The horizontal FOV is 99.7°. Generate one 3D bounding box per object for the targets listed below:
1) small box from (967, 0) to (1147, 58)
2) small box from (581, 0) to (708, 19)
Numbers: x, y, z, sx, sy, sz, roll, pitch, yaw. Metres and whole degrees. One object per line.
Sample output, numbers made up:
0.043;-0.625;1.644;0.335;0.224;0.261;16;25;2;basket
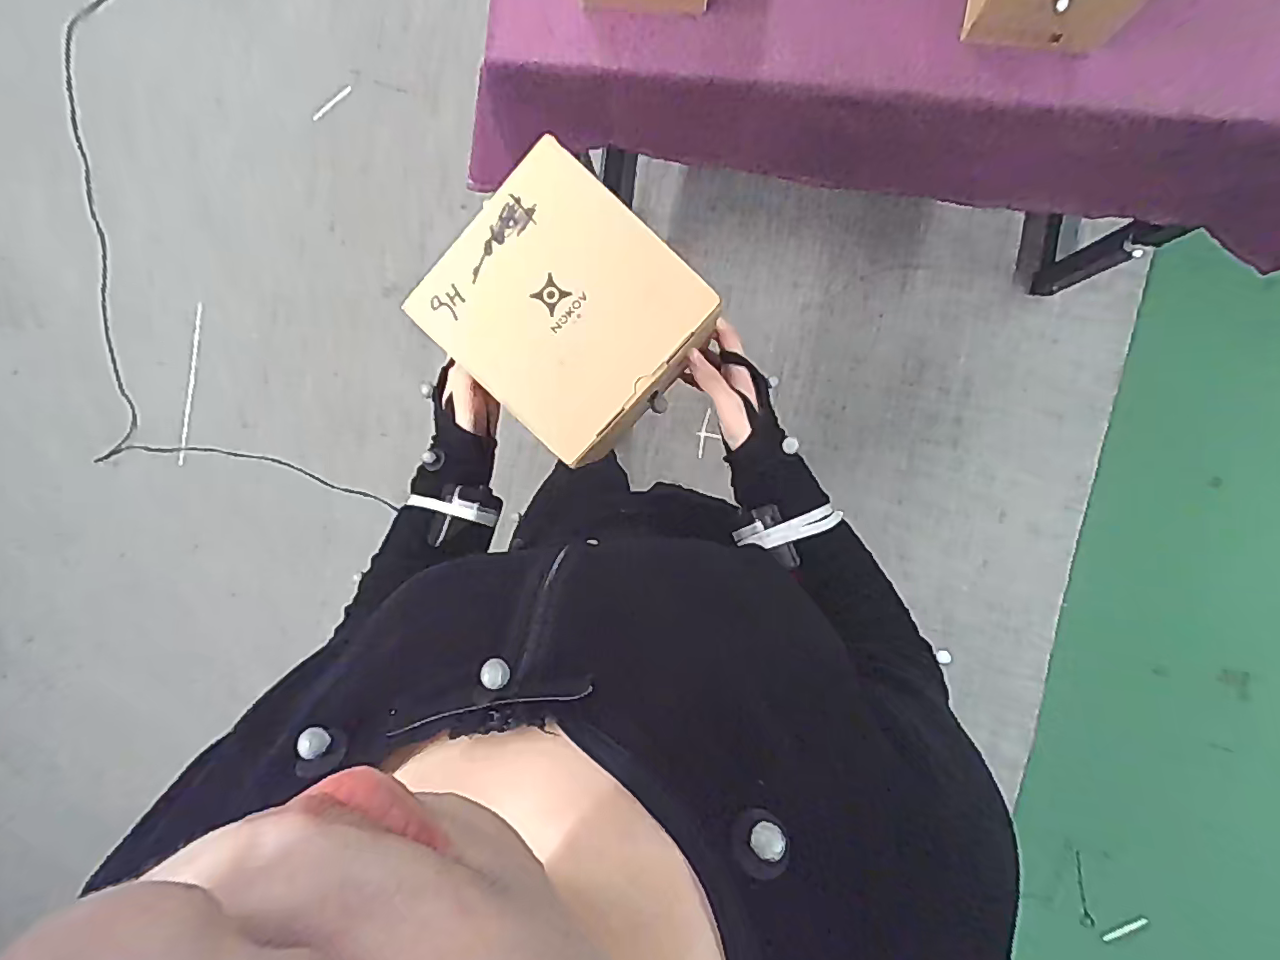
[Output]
0.497;-0.619;0.601;0.168;0.176;0.179;10;93;5;small box
0.005;-0.707;0.652;0.179;0.176;0.168;7;92;5;small box
